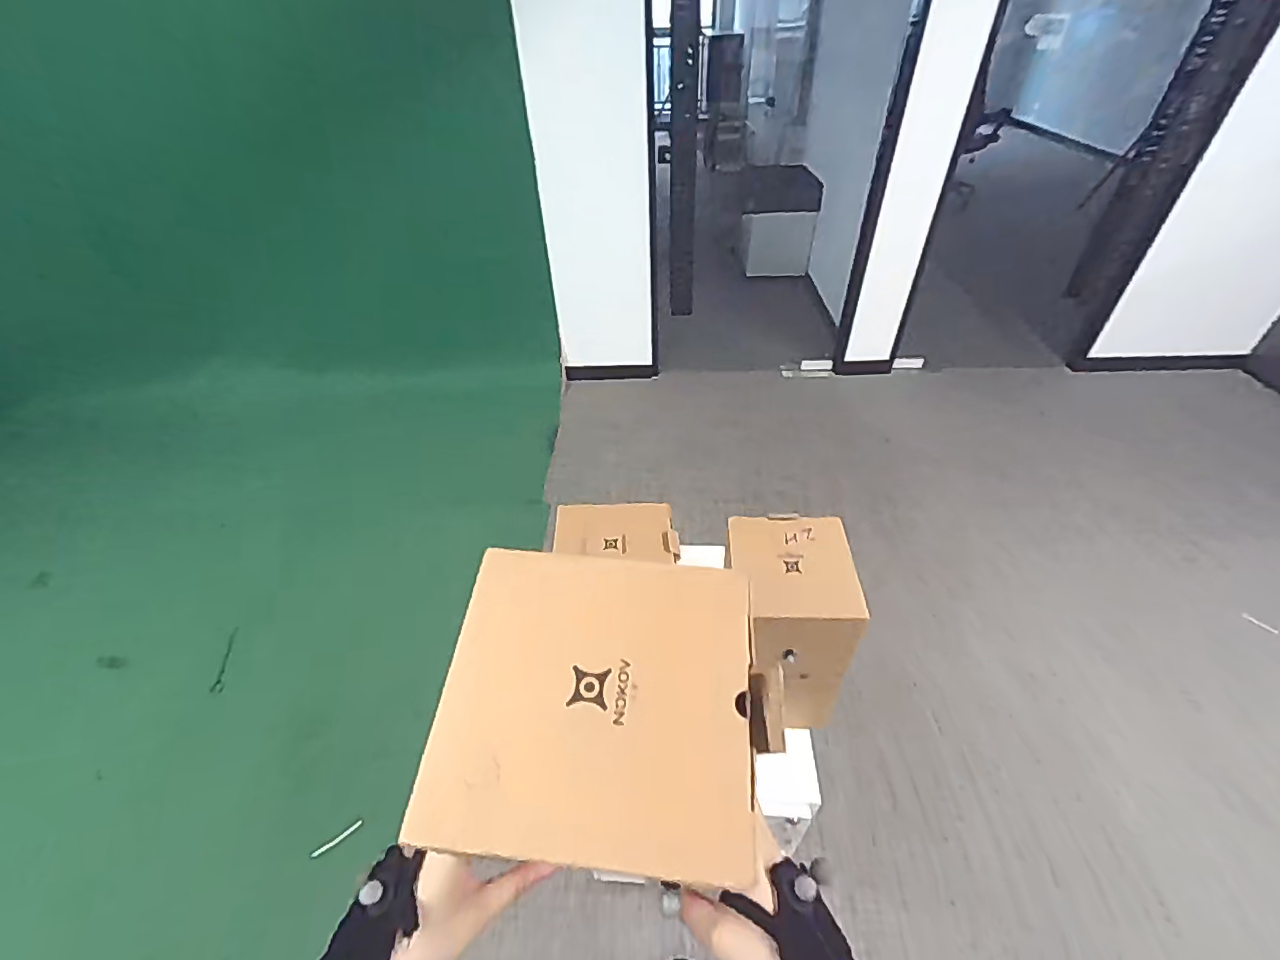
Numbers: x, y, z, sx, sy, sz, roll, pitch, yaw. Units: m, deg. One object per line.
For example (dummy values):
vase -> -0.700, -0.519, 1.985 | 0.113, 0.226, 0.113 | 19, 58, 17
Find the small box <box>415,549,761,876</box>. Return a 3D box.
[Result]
small box -> -0.019, 0.165, 0.375 | 0.179, 0.176, 0.168 | 4, 54, 3

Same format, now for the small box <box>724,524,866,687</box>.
small box -> 0.211, 0.183, 0.788 | 0.168, 0.176, 0.179 | 0, 42, 4

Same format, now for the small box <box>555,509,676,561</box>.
small box -> -0.036, 0.161, 0.825 | 0.179, 0.176, 0.168 | -2, 41, -1
